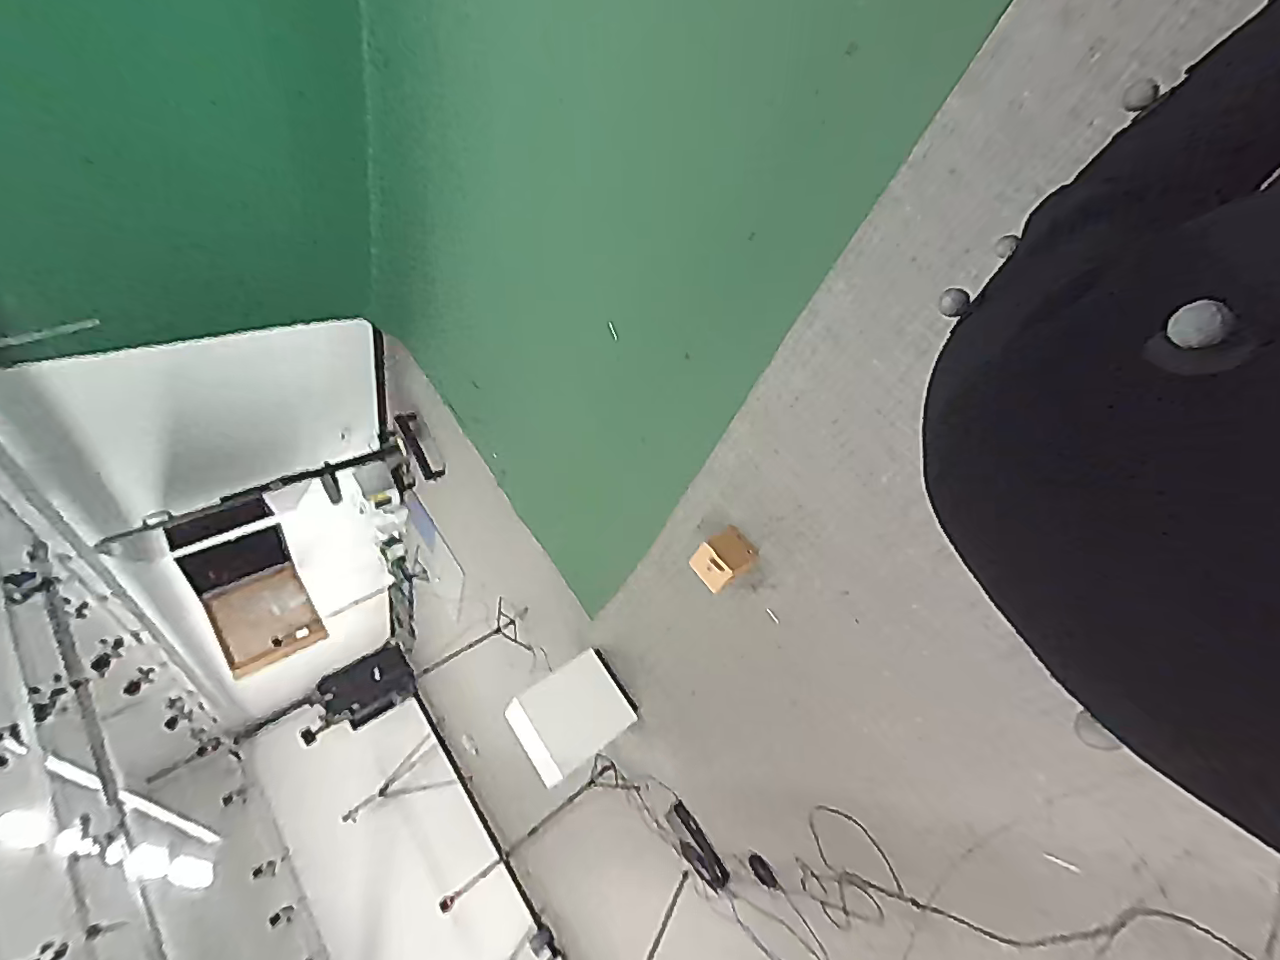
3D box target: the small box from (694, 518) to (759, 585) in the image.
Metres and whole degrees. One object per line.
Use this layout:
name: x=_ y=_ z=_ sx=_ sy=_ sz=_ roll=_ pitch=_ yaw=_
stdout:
small box: x=0.352 y=0.282 z=2.165 sx=0.168 sy=0.176 sz=0.179 roll=50 pitch=142 yaw=21
